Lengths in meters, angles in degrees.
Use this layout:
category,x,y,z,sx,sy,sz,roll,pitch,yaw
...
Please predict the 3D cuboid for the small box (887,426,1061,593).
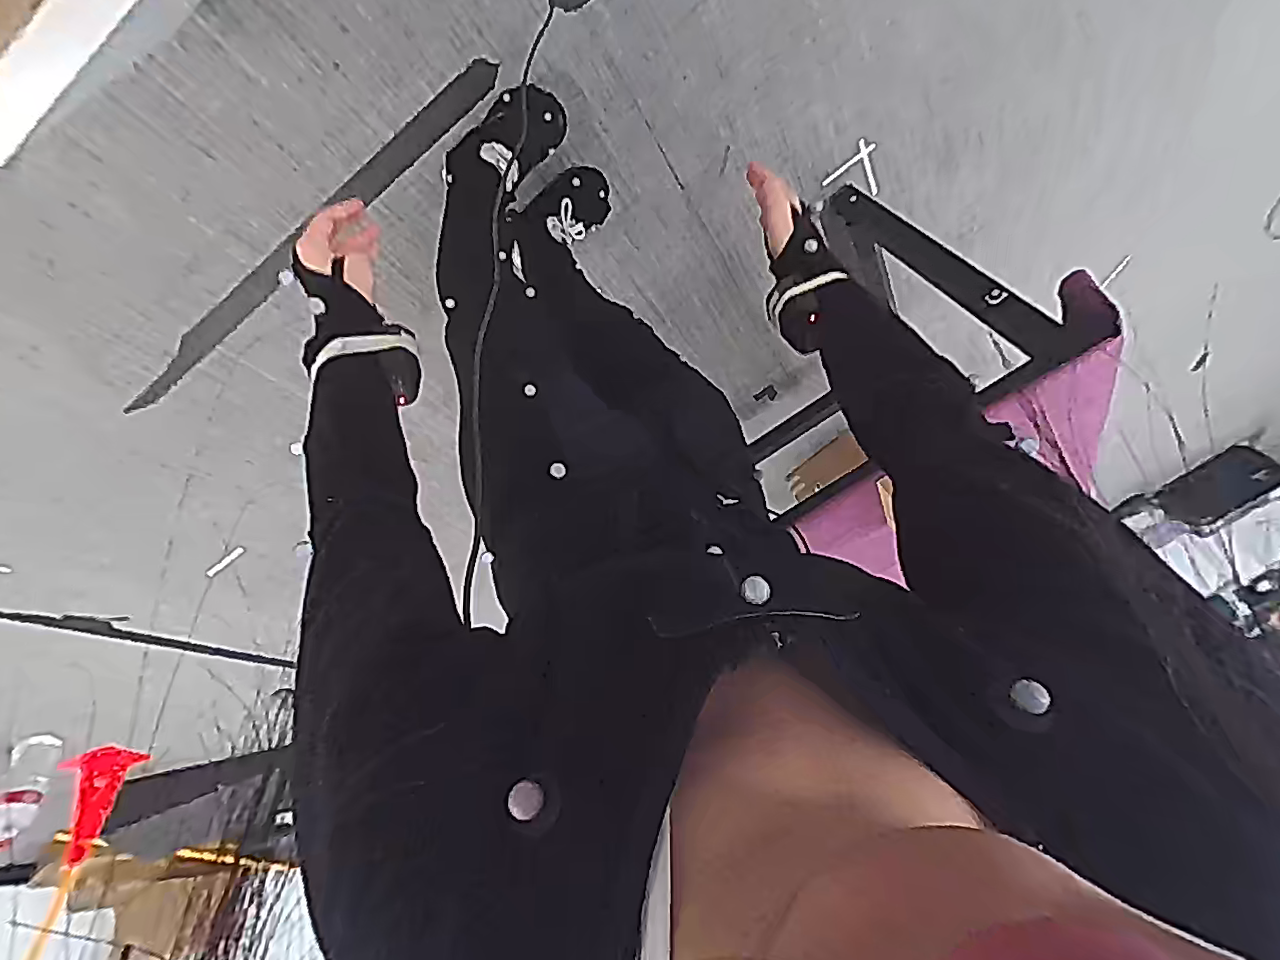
category,x,y,z,sx,sy,sz,roll,pitch,yaw
small box,0.521,0.048,0.872,0.179,0.176,0.168,-32,140,10
